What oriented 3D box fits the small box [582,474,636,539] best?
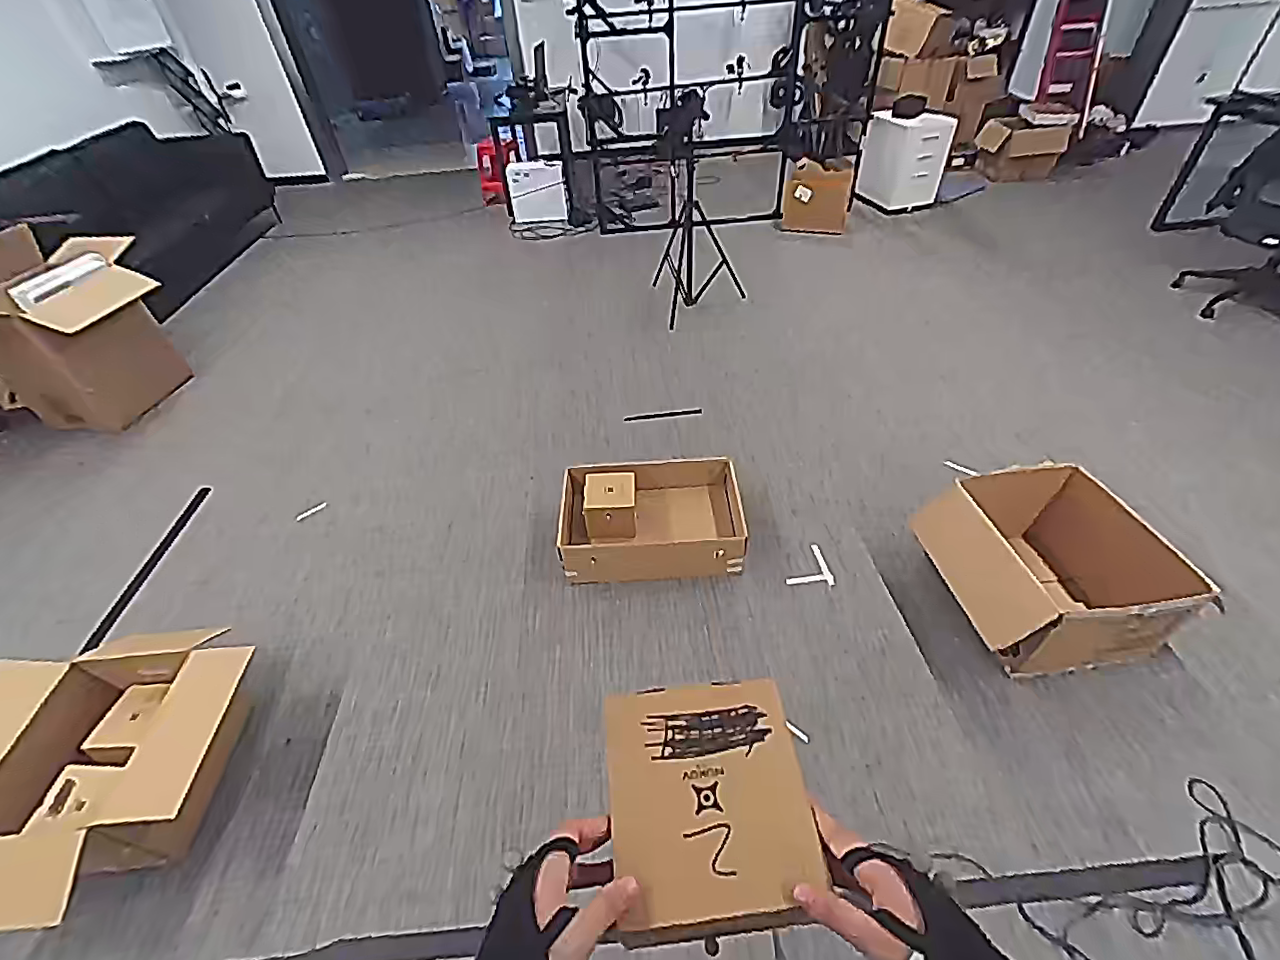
[{"bbox_3d":[-0.107,0.098,1.937,0.179,0.176,0.168,-2,46,0],"label":"small box"}]
